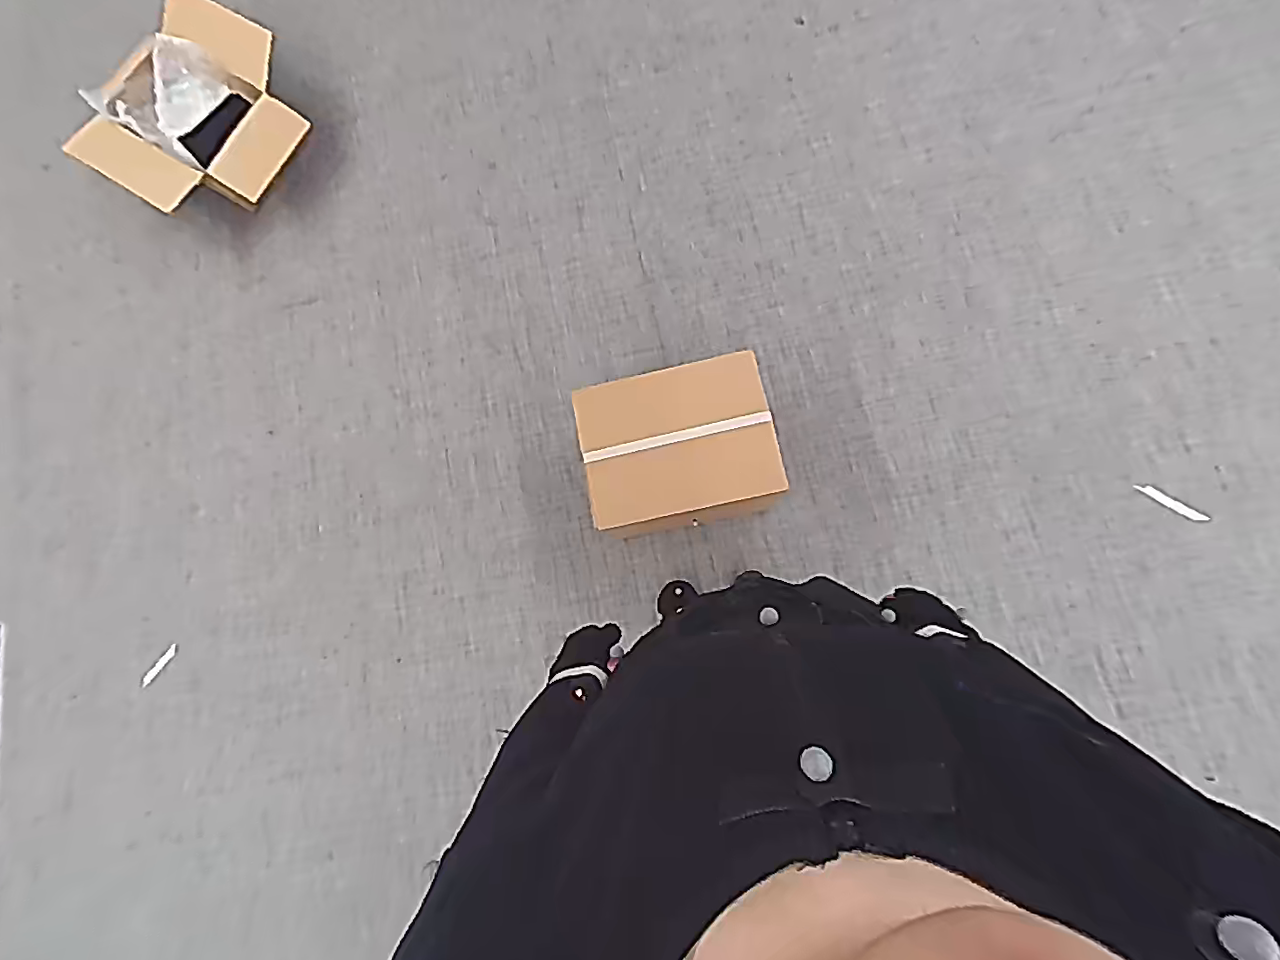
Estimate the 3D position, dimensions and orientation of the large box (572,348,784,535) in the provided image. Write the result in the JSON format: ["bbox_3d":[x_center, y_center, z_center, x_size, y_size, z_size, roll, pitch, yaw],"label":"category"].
[{"bbox_3d":[0.087,-0.069,1.290,0.408,0.320,0.320,-12,80,4],"label":"large box"}]
